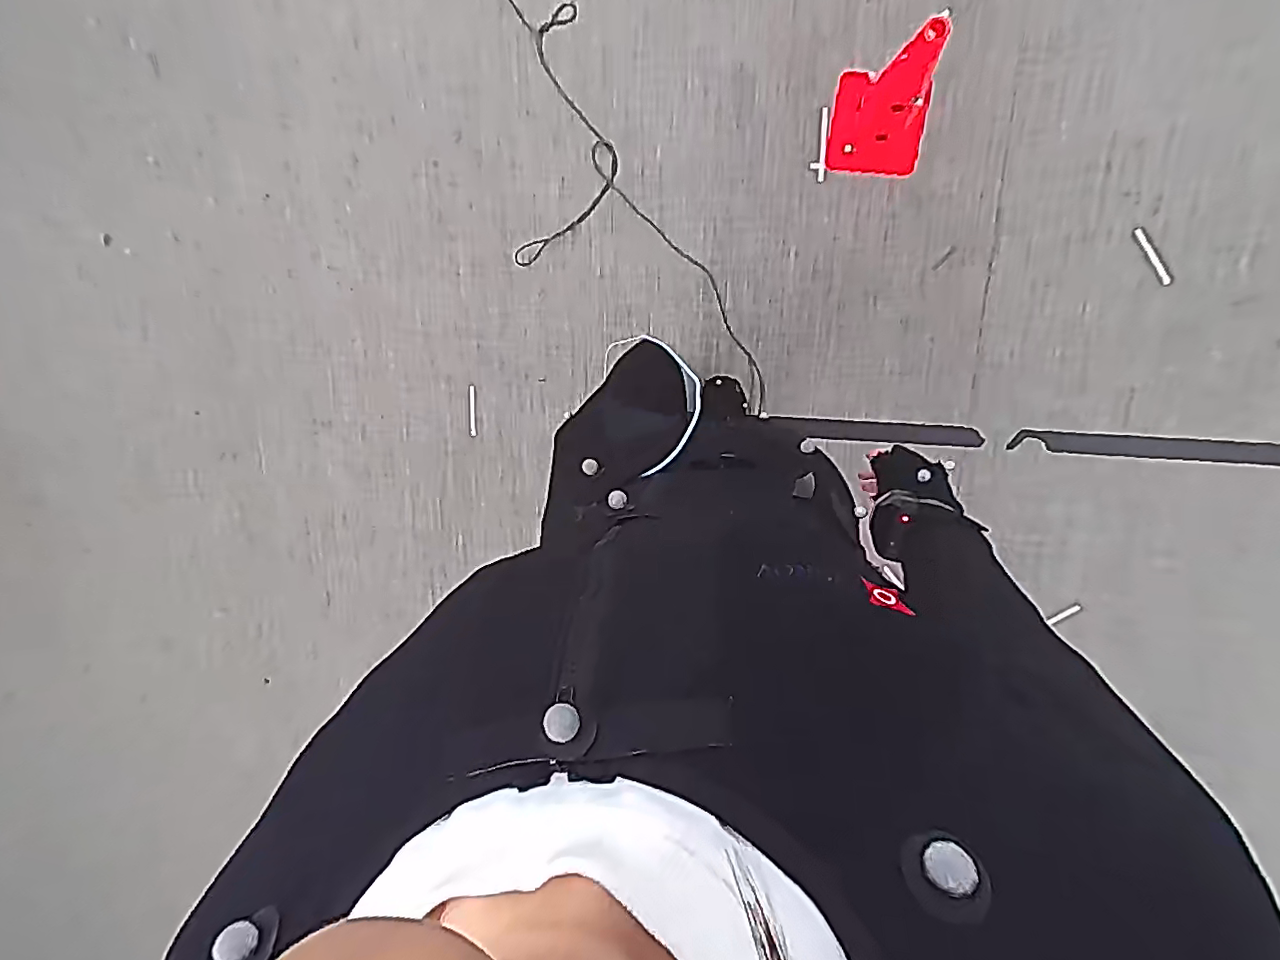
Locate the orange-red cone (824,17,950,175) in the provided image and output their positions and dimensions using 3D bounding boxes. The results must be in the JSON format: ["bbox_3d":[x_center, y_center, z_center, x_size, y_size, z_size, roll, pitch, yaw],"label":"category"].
[{"bbox_3d":[0.498,-0.751,1.024,0.199,0.360,0.198,10,104,5],"label":"orange-red cone"}]
